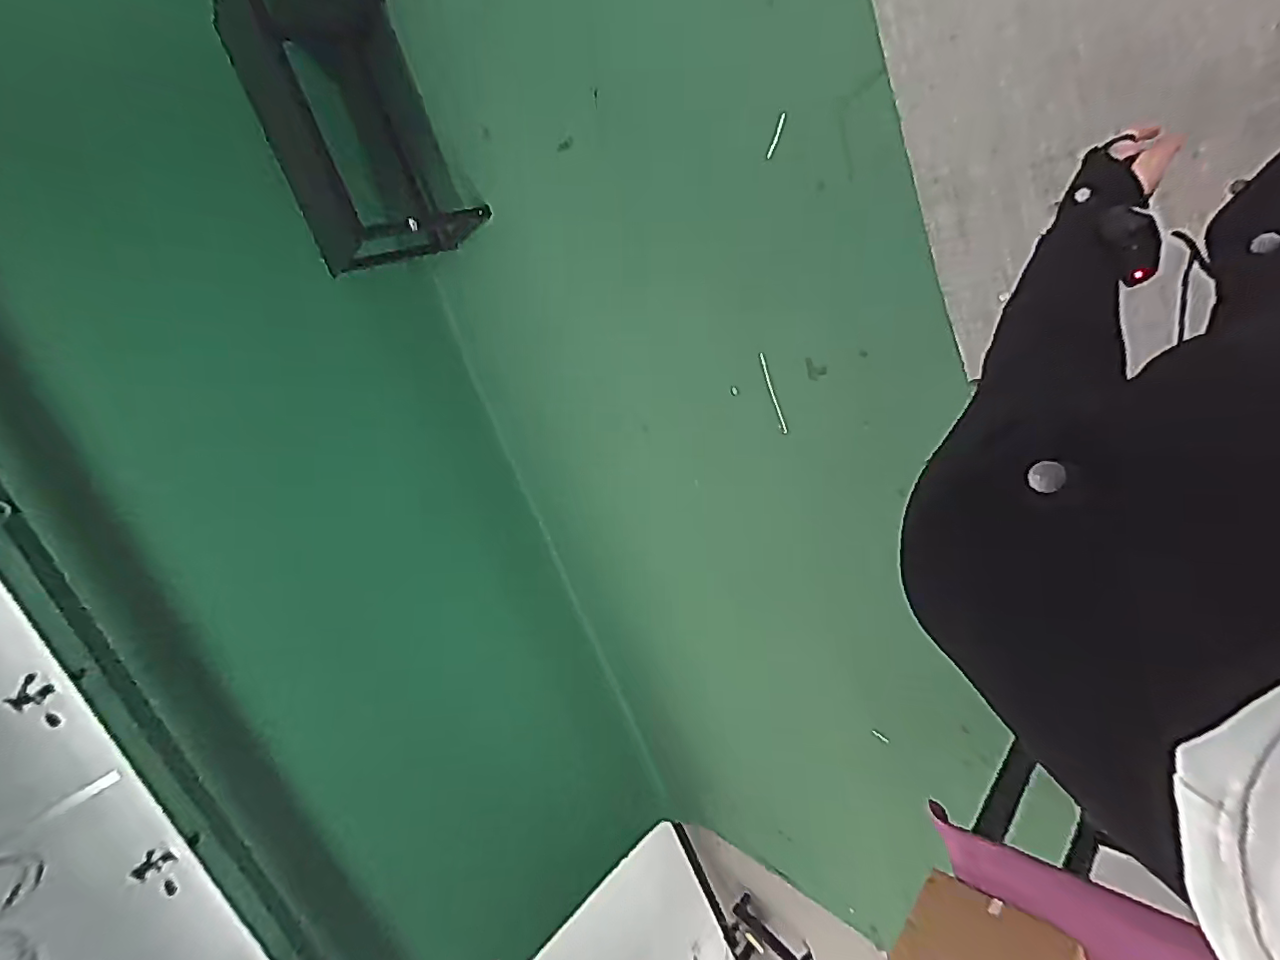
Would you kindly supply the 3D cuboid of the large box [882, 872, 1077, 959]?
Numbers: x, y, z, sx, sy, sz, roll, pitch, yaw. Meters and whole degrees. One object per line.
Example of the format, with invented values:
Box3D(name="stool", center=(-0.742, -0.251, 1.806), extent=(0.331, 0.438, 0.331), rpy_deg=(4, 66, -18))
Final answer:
Box3D(name="large box", center=(0.790, 1.226, 1.217), extent=(0.320, 0.320, 0.408), rpy_deg=(-5, 110, 51))
